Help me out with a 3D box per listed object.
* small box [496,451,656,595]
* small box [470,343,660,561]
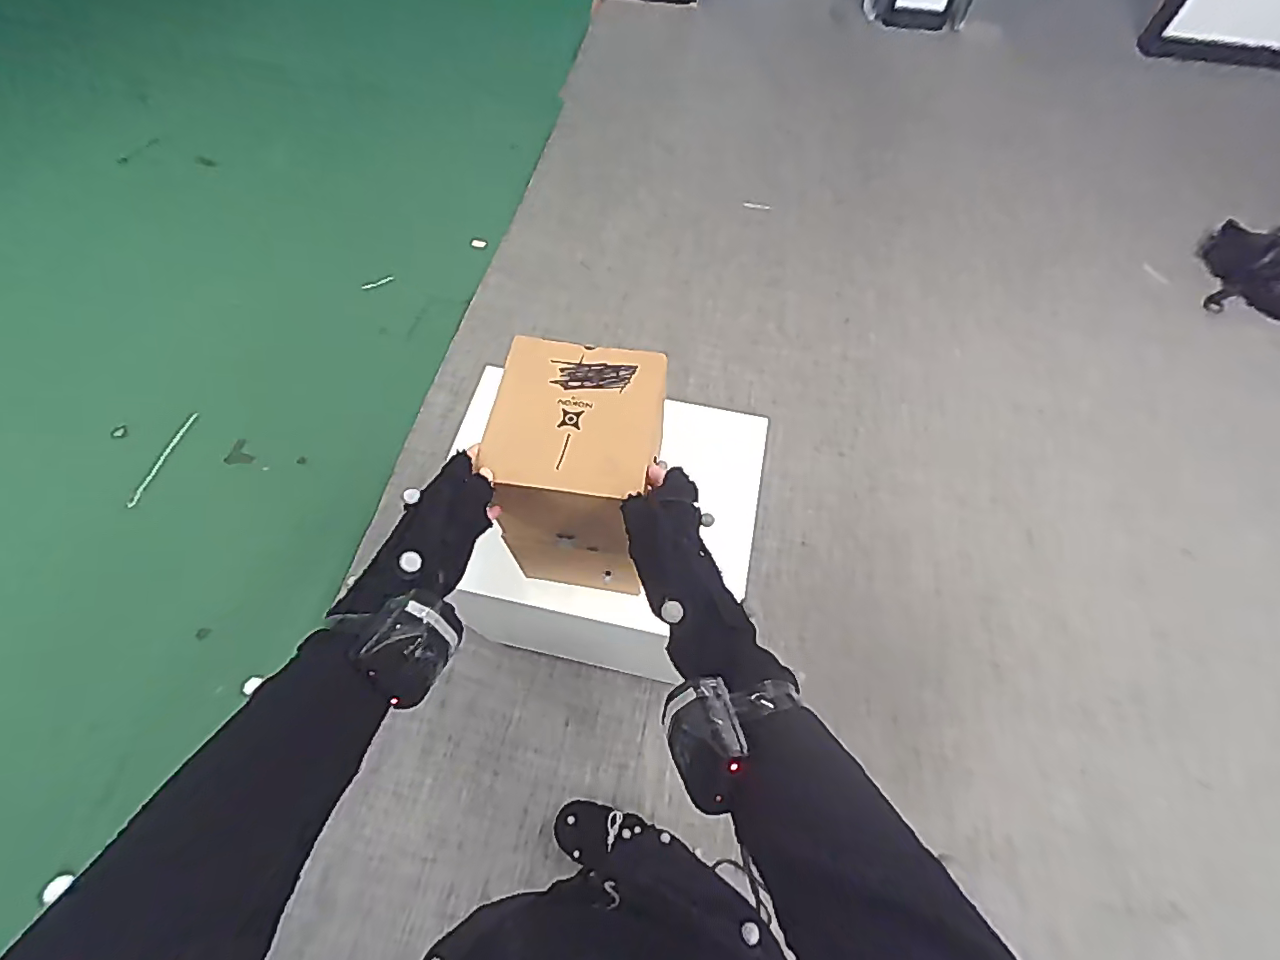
[{"bbox_3d":[-0.076,0.053,0.752,0.179,0.176,0.168,7,62,5],"label":"small box"},{"bbox_3d":[-0.069,-0.027,0.606,0.168,0.176,0.179,4,61,4],"label":"small box"}]
